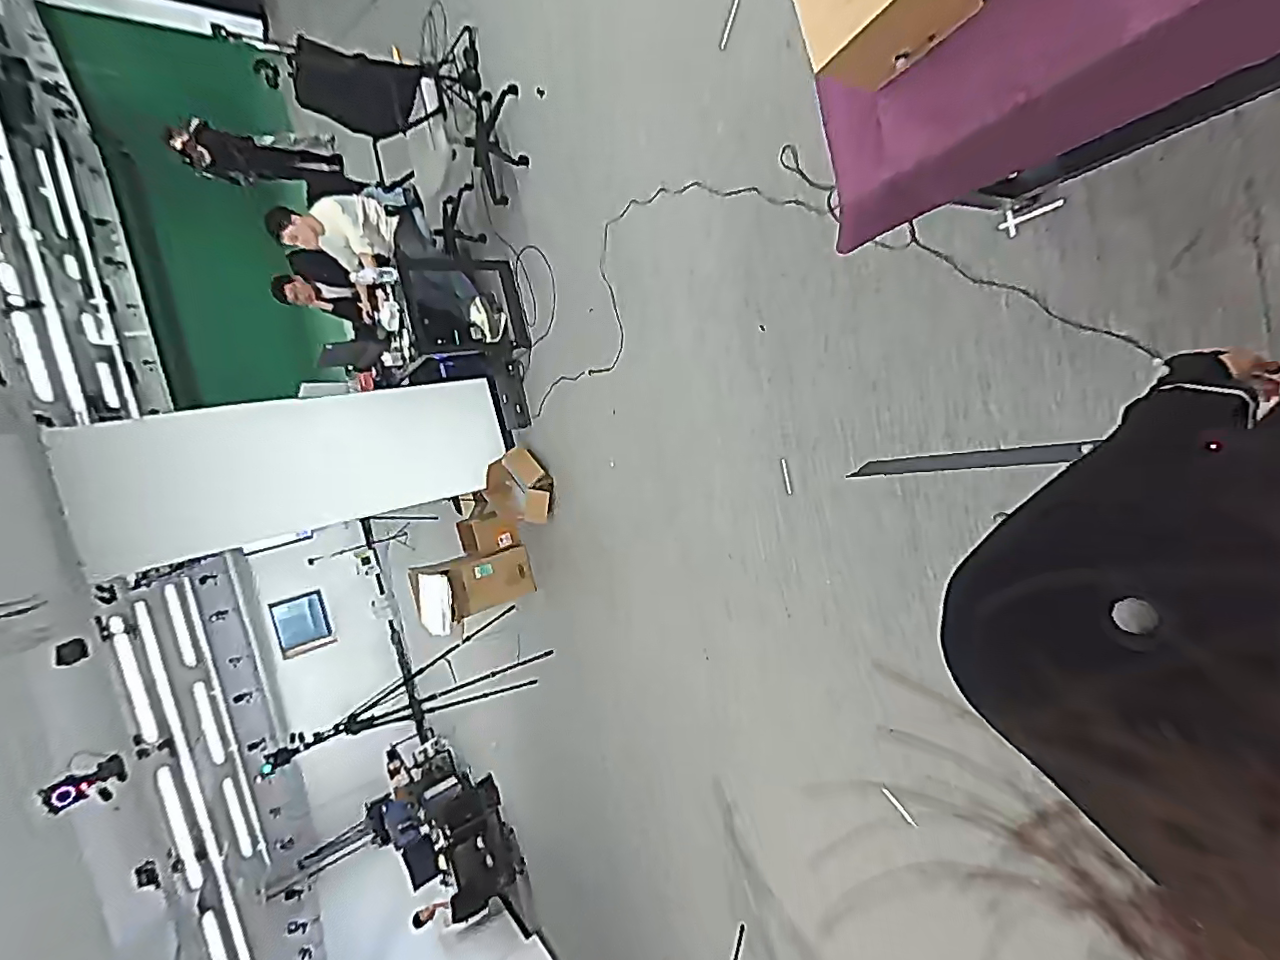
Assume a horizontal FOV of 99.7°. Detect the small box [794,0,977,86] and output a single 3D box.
[{"bbox_3d":[0.334,-0.700,0.755,0.168,0.176,0.179,-14,91,56],"label":"small box"}]
